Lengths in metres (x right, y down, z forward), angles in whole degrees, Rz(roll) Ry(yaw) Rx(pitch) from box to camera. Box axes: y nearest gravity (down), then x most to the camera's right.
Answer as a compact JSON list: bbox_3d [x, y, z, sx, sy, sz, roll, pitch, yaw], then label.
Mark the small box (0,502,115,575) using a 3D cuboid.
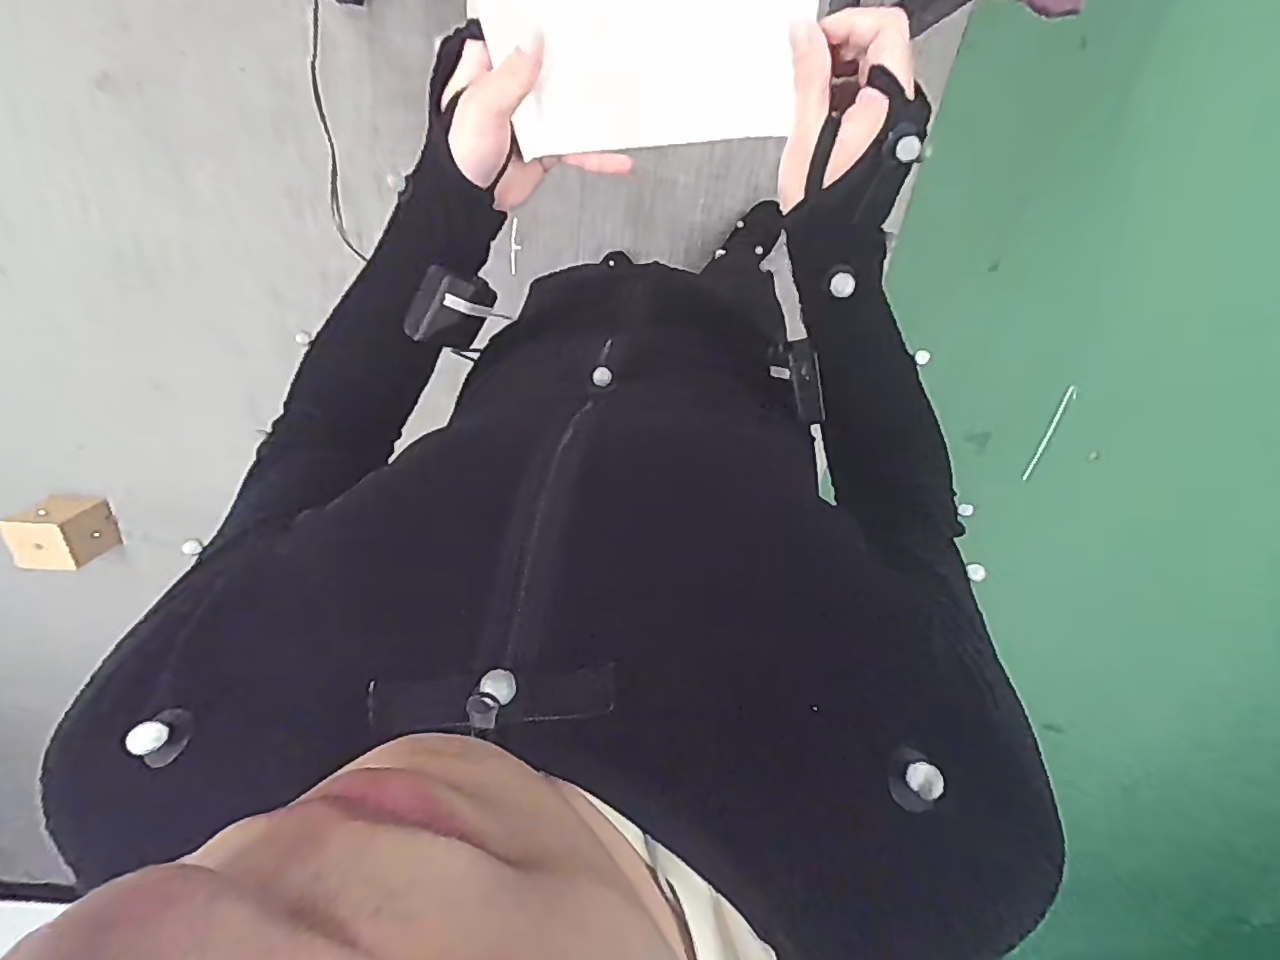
[{"bbox_3d":[-1.795,0.178,1.676,0.179,0.176,0.168,4,114,-2],"label":"small box"}]
